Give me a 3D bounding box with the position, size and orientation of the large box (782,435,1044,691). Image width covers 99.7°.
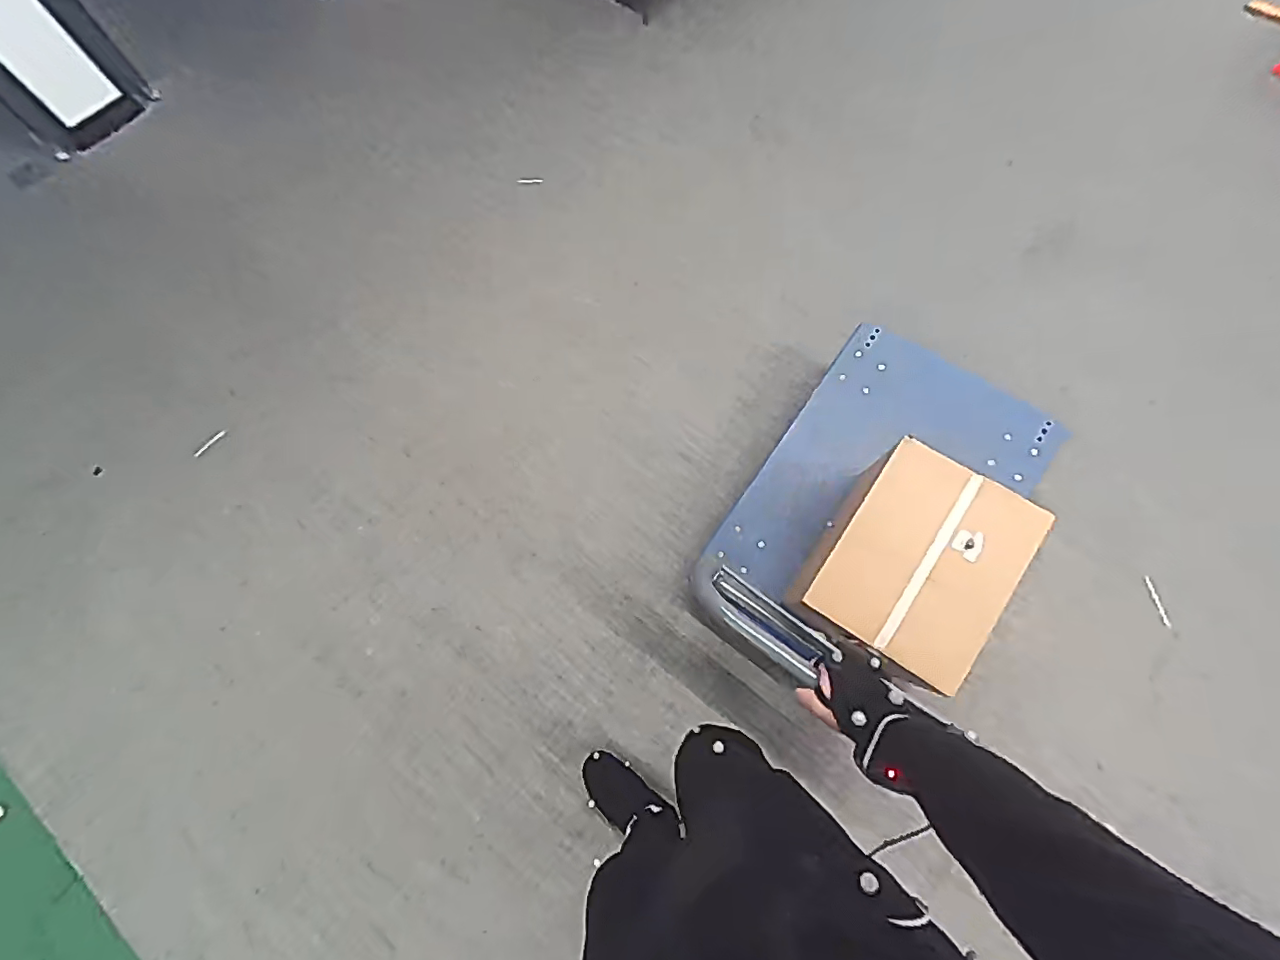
[{"bbox_3d":[0.560,0.183,1.184,0.320,0.320,0.408,33,82,12],"label":"large box"}]
